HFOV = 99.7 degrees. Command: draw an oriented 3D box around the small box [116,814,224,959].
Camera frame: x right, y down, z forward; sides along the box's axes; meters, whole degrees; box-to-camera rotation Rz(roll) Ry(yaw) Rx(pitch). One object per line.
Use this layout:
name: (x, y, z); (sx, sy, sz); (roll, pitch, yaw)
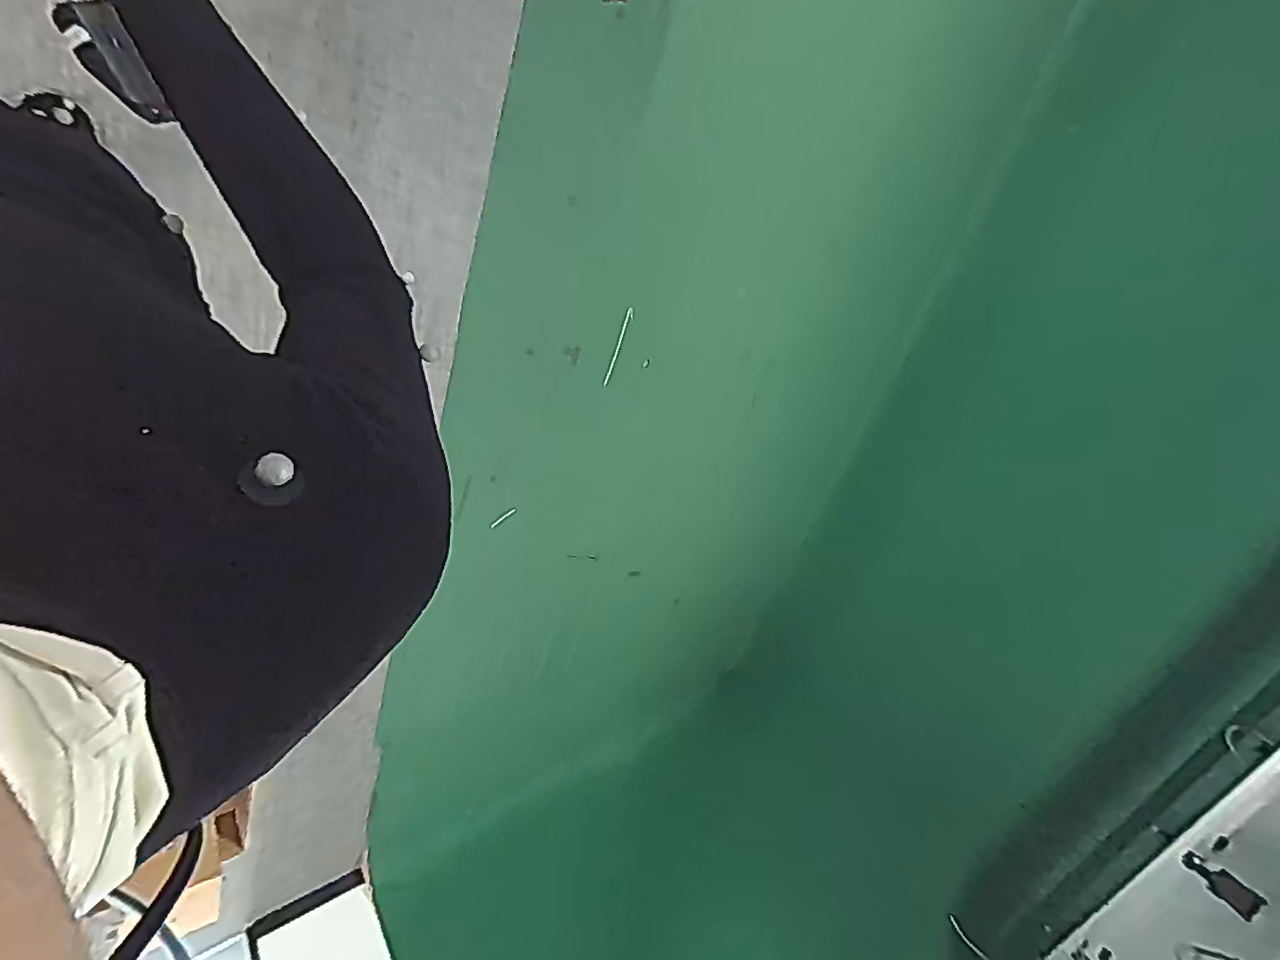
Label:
small box: (-1.036, 0.889, 1.191); (0.168, 0.176, 0.179); (-2, 121, -46)

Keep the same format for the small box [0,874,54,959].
small box: (-1.221, 0.892, 1.006); (0.179, 0.176, 0.168); (1, 118, -45)
